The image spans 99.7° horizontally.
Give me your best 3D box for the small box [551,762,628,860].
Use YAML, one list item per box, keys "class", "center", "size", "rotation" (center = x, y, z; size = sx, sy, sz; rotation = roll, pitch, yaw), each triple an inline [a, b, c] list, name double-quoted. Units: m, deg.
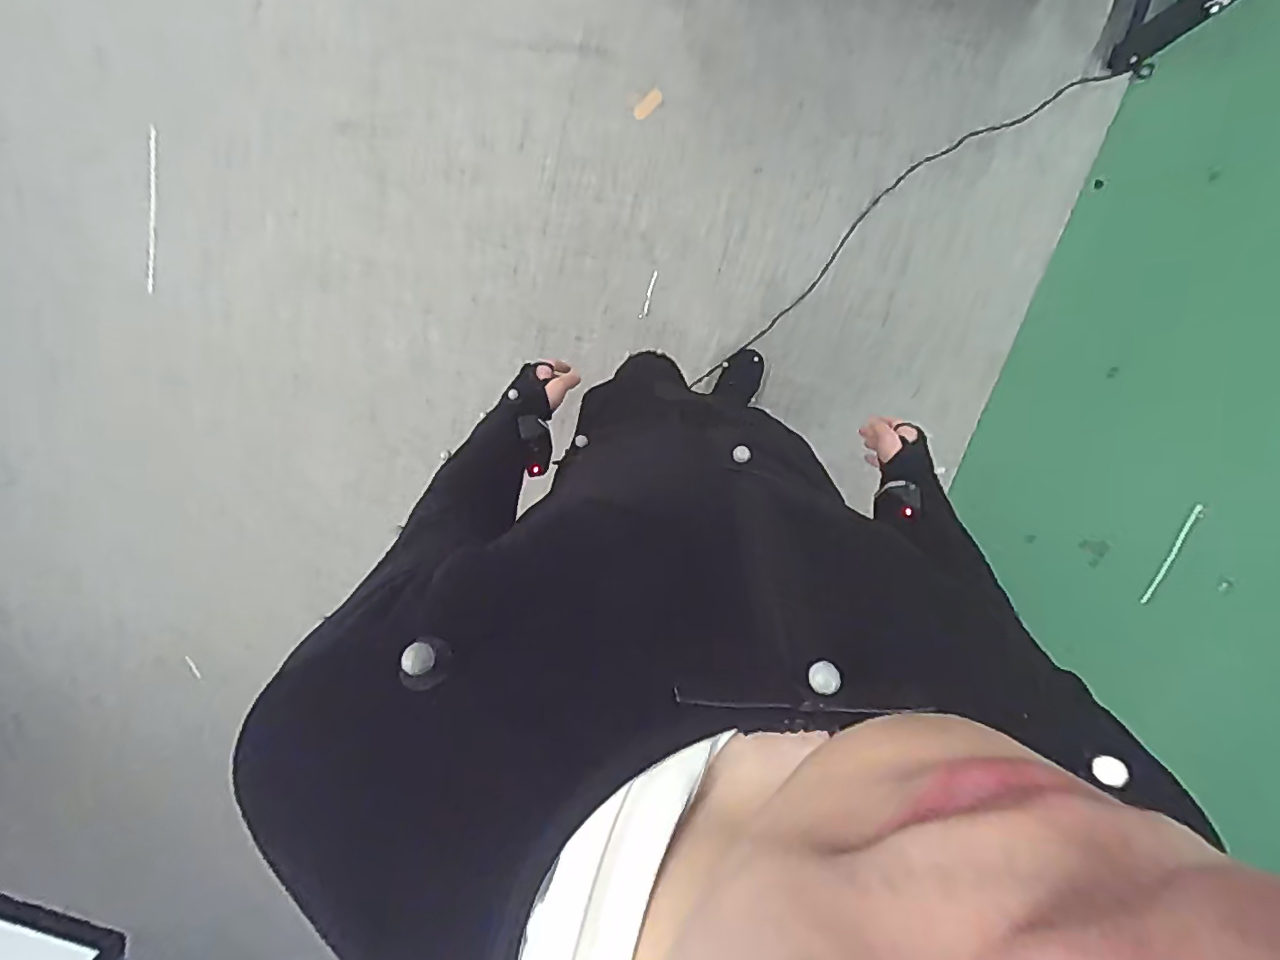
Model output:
- class: "small box"
  center: [-0.149, 1.004, 1.654]
  size: [0.179, 0.176, 0.168]
  rotation: [19, 104, 1]
